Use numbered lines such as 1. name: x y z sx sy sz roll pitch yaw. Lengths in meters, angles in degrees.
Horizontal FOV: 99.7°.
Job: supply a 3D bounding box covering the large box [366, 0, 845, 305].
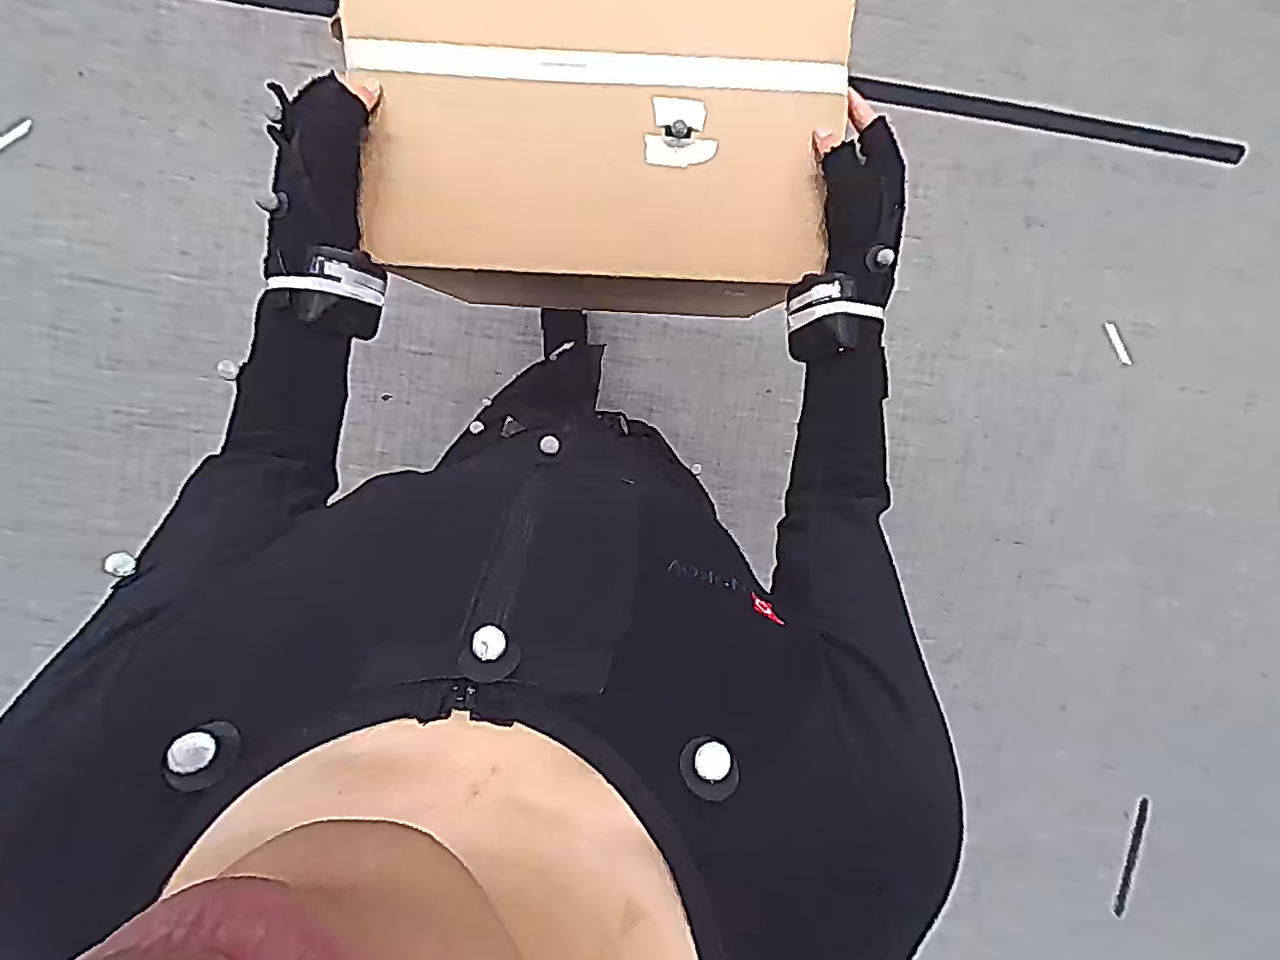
1. large box: -0.035 -0.376 0.603 0.408 0.320 0.320 2 103 -2
